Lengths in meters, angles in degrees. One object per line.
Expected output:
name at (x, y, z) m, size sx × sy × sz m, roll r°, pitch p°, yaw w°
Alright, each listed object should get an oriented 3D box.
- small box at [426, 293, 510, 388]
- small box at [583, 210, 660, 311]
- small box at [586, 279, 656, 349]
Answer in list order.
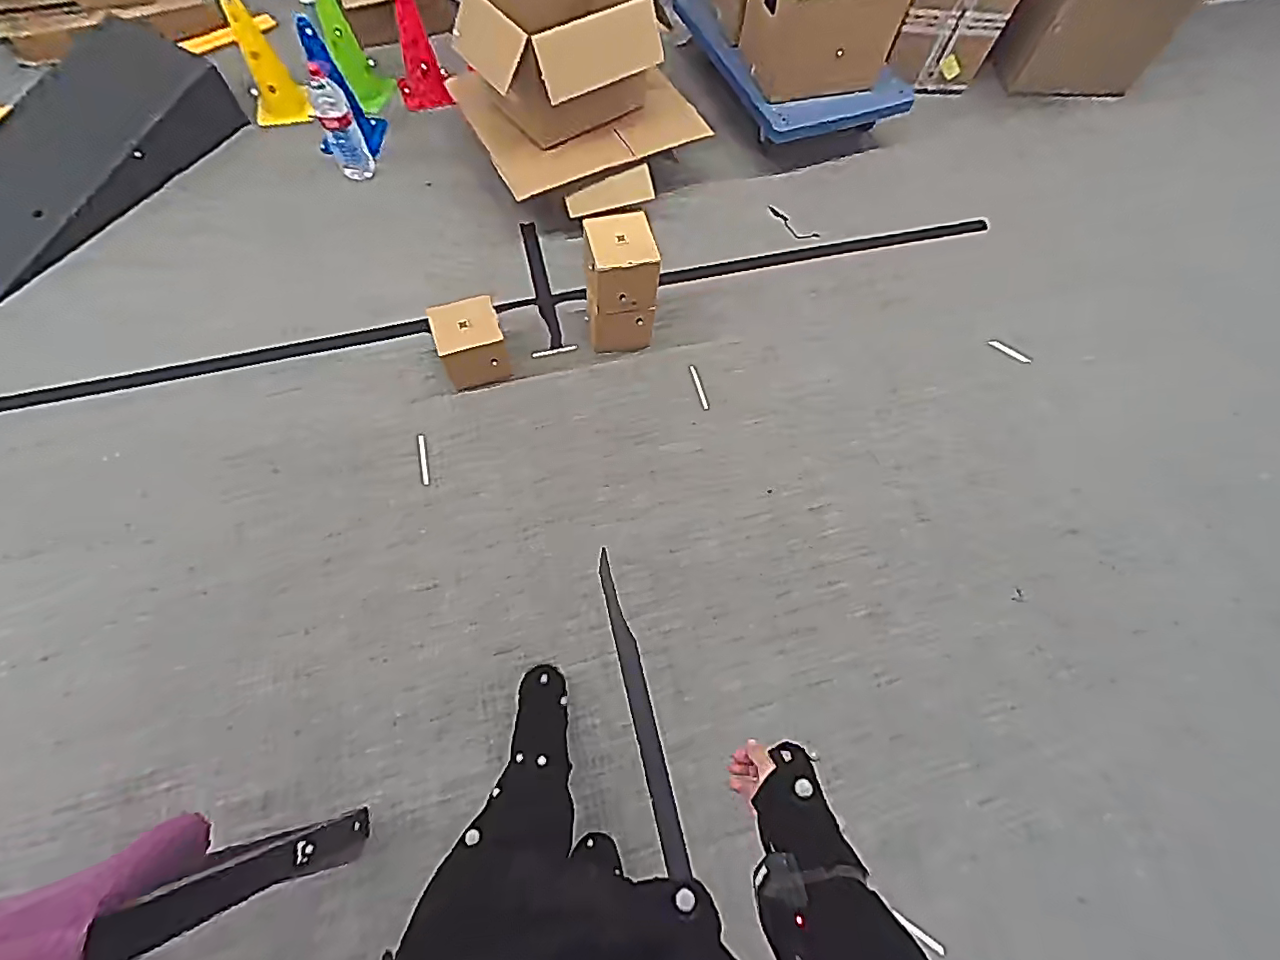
small box at (-0.470, -0.383, 1.506) m, size 0.179 × 0.176 × 0.168 m, roll -19°, pitch 69°, yaw -10°
small box at (-0.055, -0.580, 1.437) m, size 0.168 × 0.176 × 0.179 m, roll -13°, pitch 69°, yaw -10°
small box at (-0.062, -0.505, 1.582) m, size 0.179 × 0.176 × 0.168 m, roll -9°, pitch 68°, yaw -8°
